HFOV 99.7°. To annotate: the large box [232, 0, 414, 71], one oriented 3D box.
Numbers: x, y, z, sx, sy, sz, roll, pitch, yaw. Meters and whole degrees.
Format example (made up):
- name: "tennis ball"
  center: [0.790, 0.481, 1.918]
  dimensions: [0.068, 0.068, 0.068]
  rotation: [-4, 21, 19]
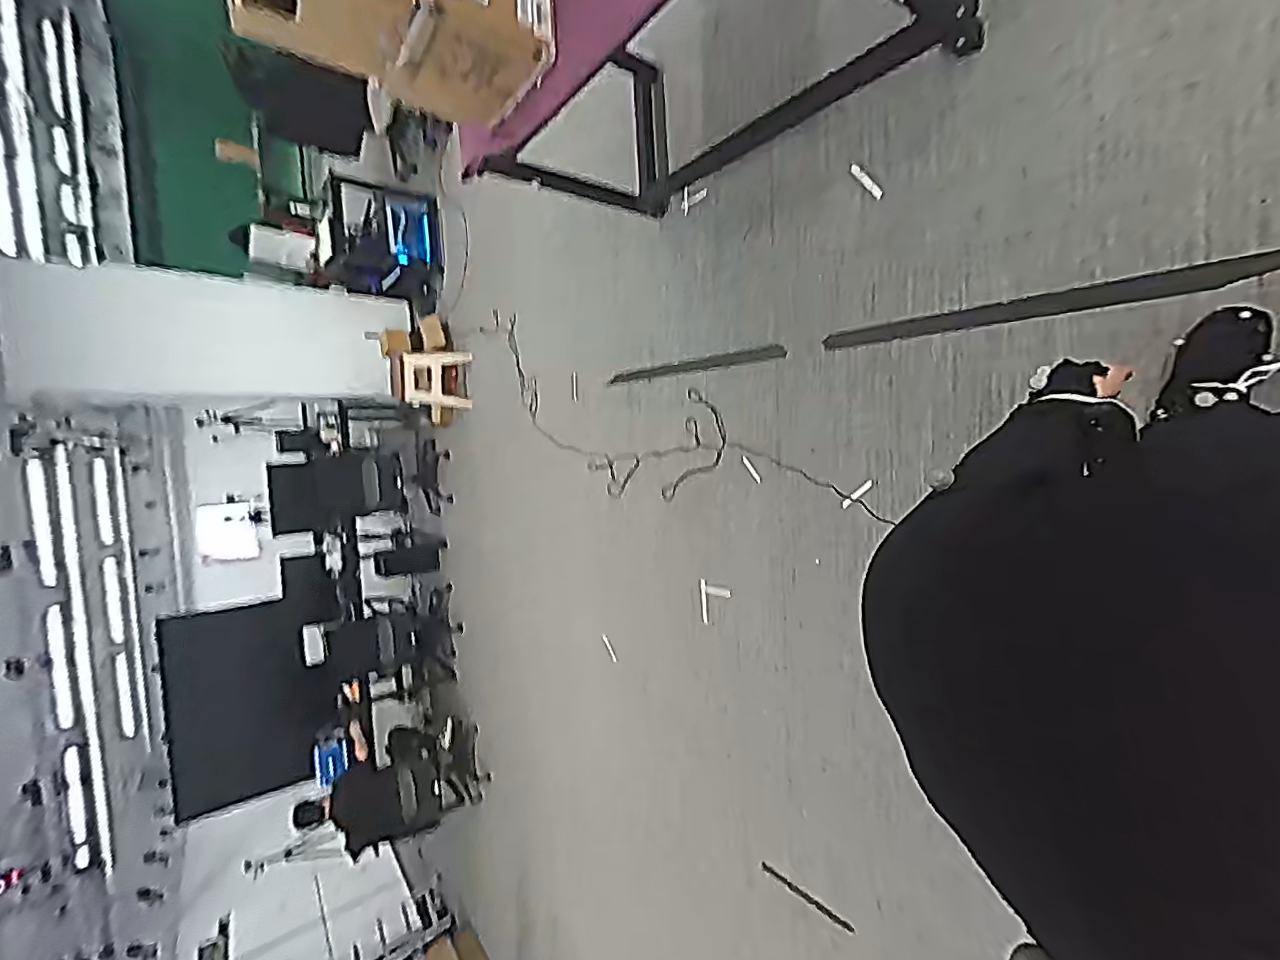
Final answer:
- name: "large box"
  center: [-0.677, -1.194, 1.128]
  dimensions: [0.320, 0.320, 0.408]
  rotation: [4, 98, 54]
